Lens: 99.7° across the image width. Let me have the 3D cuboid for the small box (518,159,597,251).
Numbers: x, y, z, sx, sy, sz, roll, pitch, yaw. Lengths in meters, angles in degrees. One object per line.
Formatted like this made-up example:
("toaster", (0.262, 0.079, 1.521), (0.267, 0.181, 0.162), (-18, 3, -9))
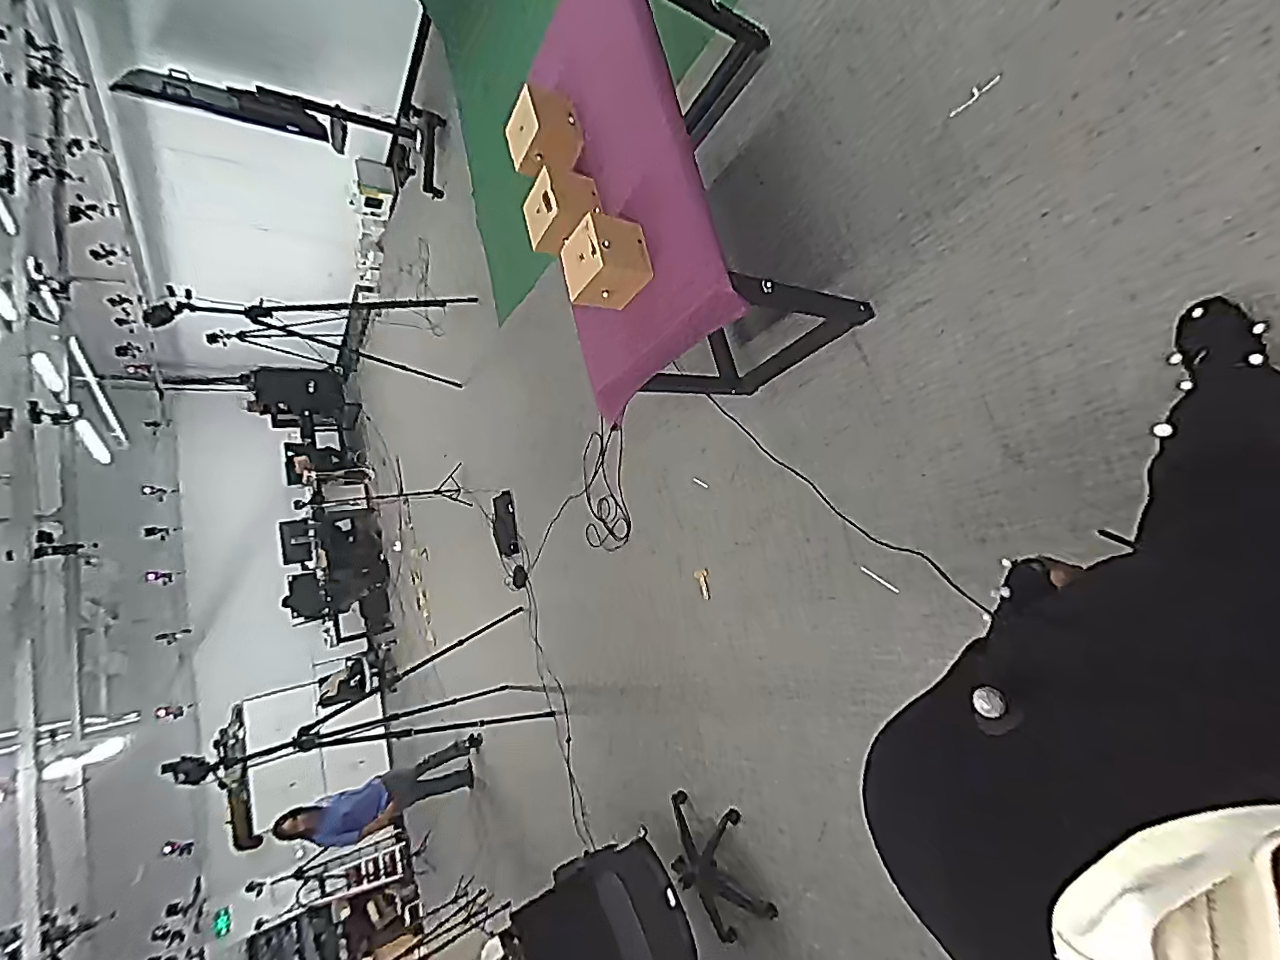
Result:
("small box", (-0.242, -0.816, 1.627), (0.179, 0.176, 0.168), (-30, 71, 51))

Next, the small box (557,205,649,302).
("small box", (-0.102, -0.606, 1.473), (0.179, 0.176, 0.168), (-28, 73, 51))

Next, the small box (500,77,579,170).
("small box", (-0.312, -1.087, 1.682), (0.179, 0.176, 0.168), (-30, 72, 49))
